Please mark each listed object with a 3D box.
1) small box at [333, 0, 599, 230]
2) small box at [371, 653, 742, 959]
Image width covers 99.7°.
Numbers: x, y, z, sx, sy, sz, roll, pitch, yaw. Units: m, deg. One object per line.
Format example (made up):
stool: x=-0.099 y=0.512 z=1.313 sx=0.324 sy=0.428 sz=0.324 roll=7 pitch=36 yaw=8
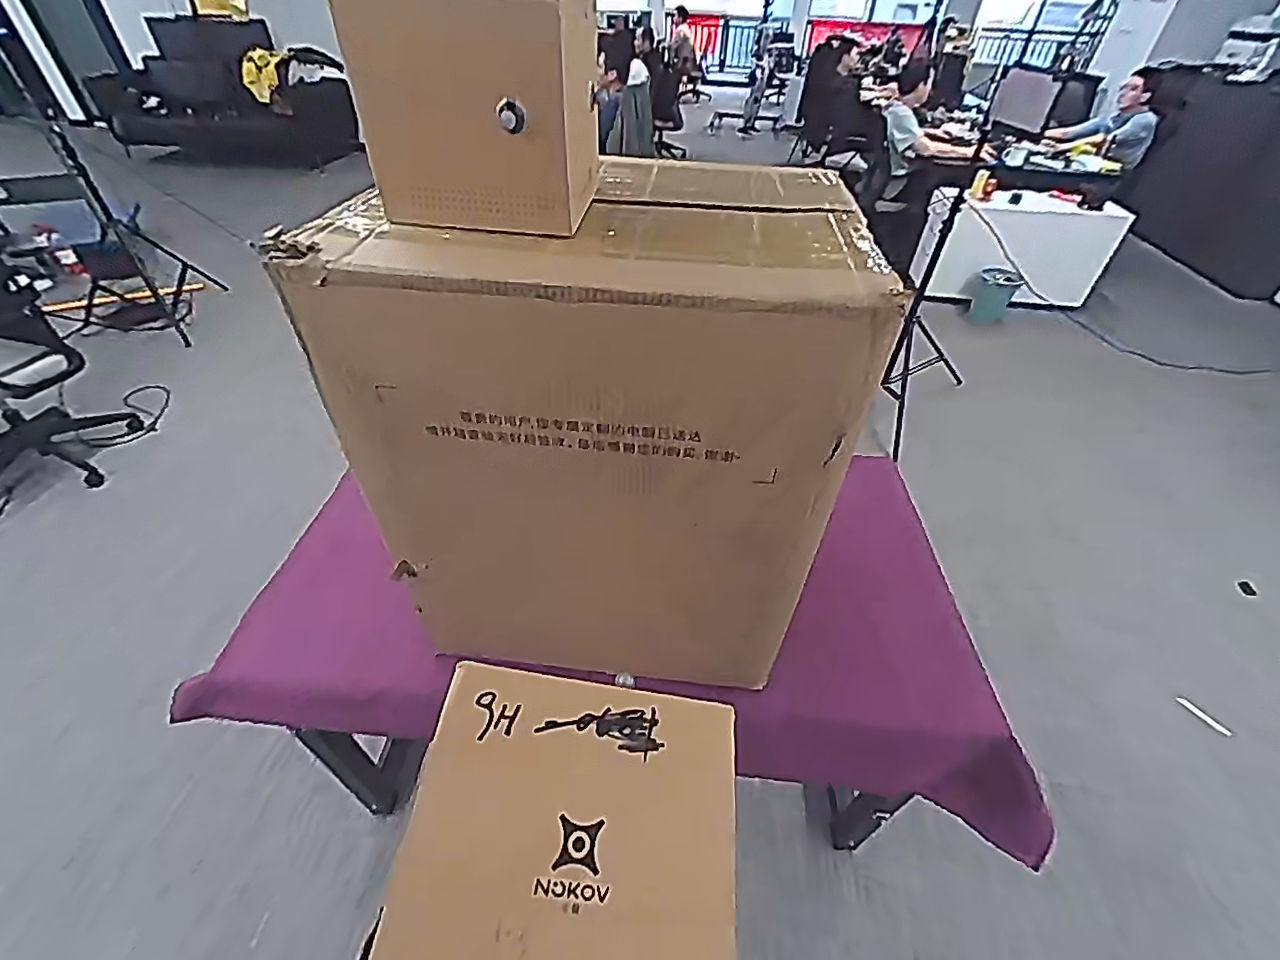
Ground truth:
small box: x=-0.133 y=-0.341 z=0.494 sx=0.179 sy=0.176 sz=0.168 roll=4 pitch=42 yaw=3
small box: x=-0.045 y=0.226 z=0.327 sx=0.168 sy=0.176 sz=0.179 roll=12 pitch=55 yaw=-6
